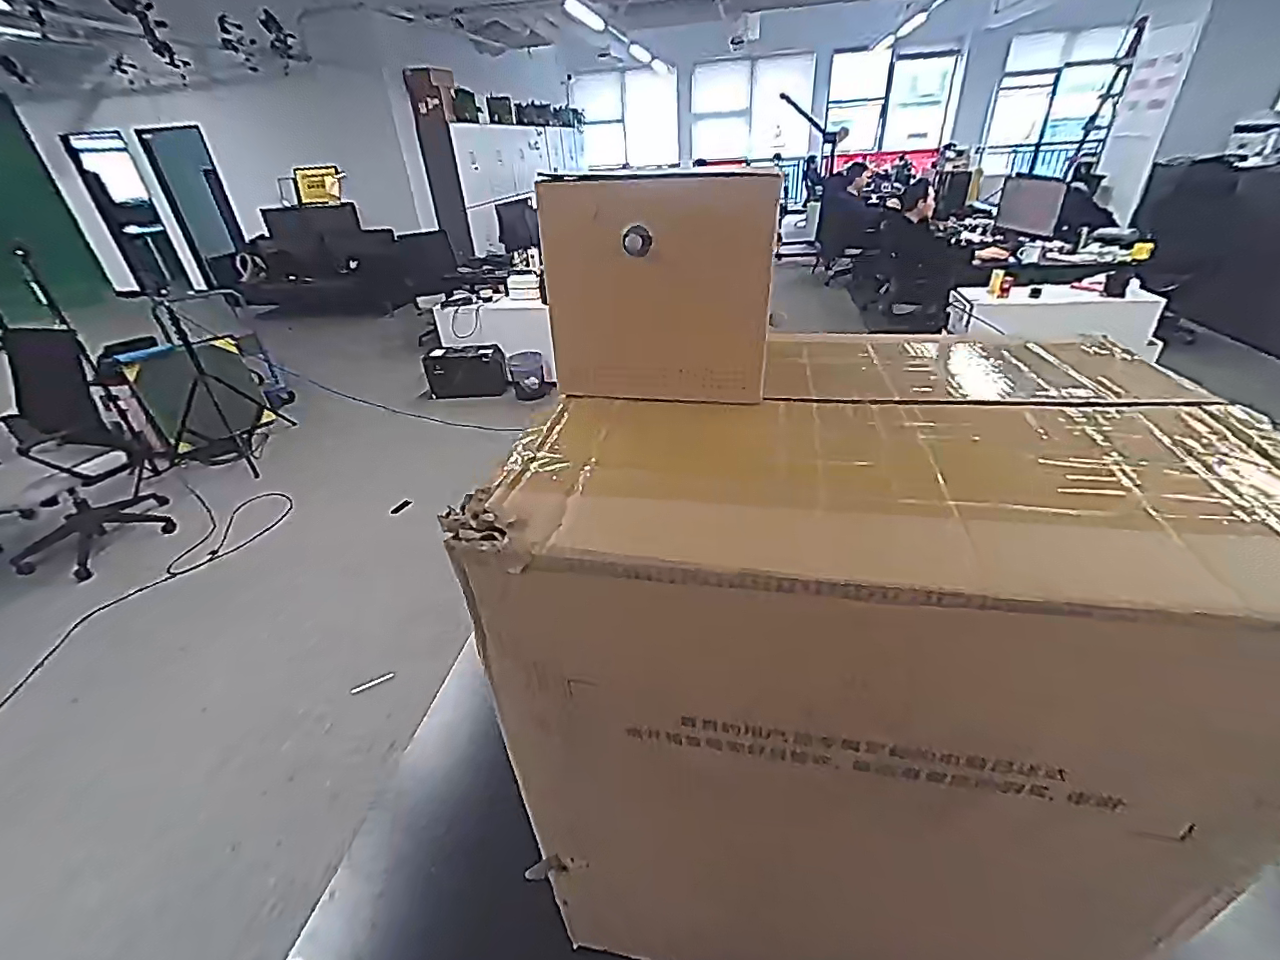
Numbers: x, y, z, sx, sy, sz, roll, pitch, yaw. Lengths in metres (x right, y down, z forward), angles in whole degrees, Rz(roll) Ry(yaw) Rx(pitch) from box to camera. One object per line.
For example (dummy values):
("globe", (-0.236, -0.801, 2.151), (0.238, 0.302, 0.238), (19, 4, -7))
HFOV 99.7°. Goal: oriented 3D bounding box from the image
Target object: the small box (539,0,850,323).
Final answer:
("small box", (0.044, -0.219, 0.402), (0.179, 0.176, 0.168), (5, 31, 10))
